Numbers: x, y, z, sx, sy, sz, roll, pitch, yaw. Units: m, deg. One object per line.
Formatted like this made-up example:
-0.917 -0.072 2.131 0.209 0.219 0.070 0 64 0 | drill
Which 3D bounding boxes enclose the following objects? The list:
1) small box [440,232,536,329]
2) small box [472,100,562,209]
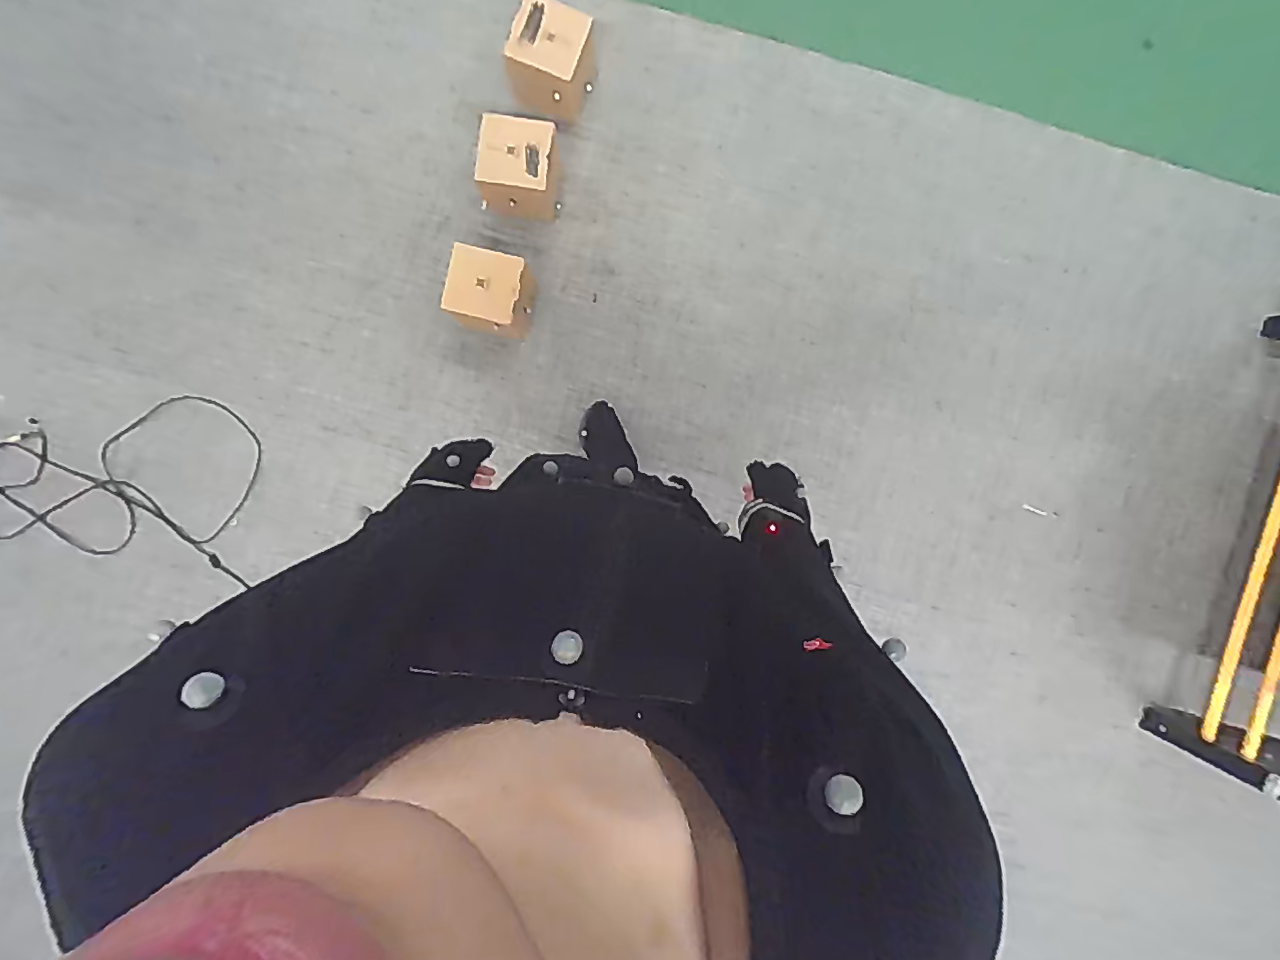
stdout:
-0.377 -0.494 1.365 0.179 0.176 0.168 13 93 -1 | small box
-0.300 -0.803 1.352 0.179 0.176 0.168 8 92 0 | small box
